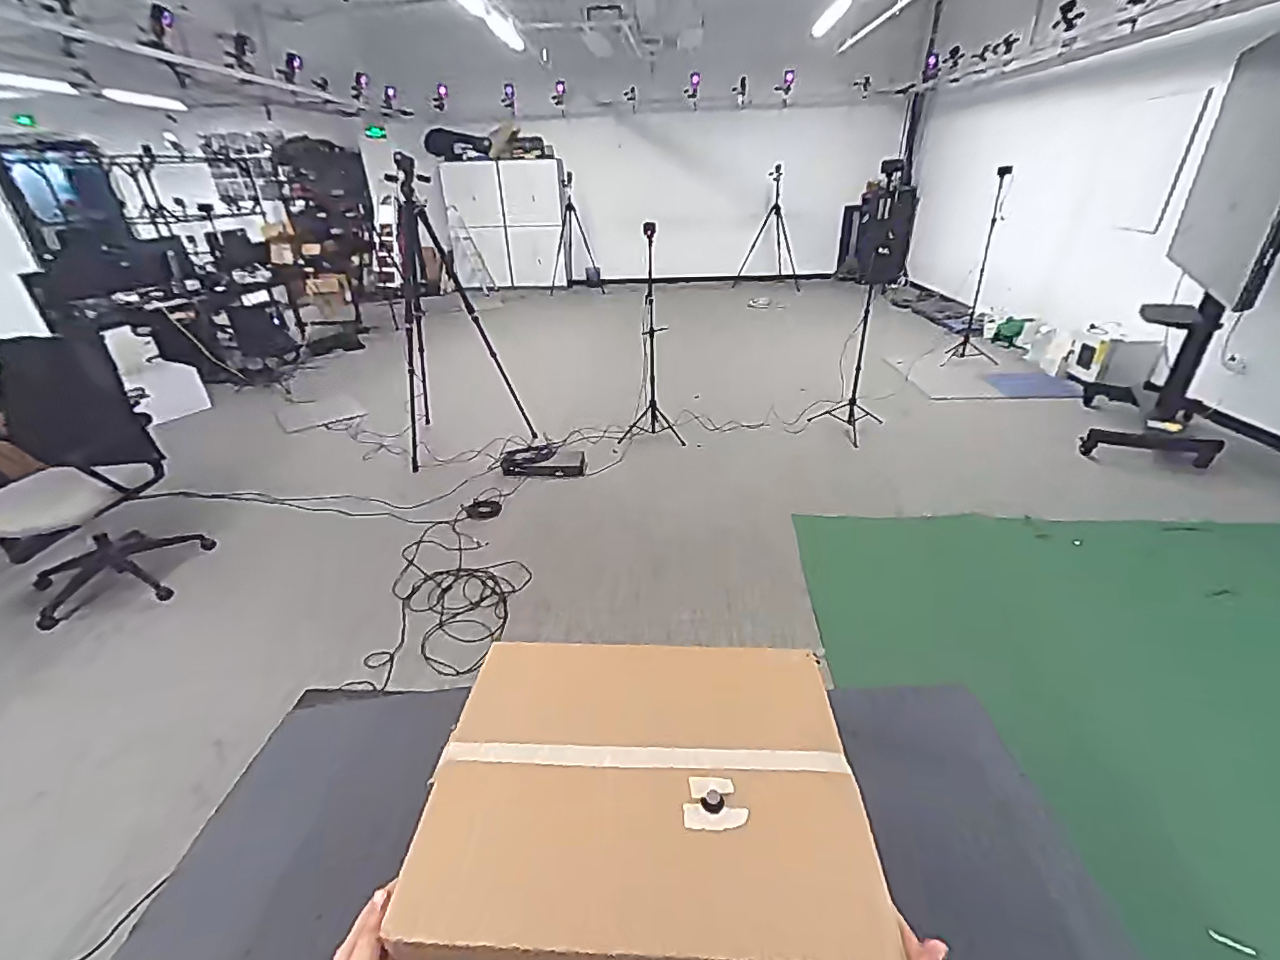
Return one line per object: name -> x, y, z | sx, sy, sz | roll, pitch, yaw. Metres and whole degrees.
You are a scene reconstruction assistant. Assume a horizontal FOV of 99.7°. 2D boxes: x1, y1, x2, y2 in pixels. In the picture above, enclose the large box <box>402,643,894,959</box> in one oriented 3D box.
large box -> 0.010, 0.414, 0.628 | 0.408, 0.320, 0.320 | 0, 29, 3
